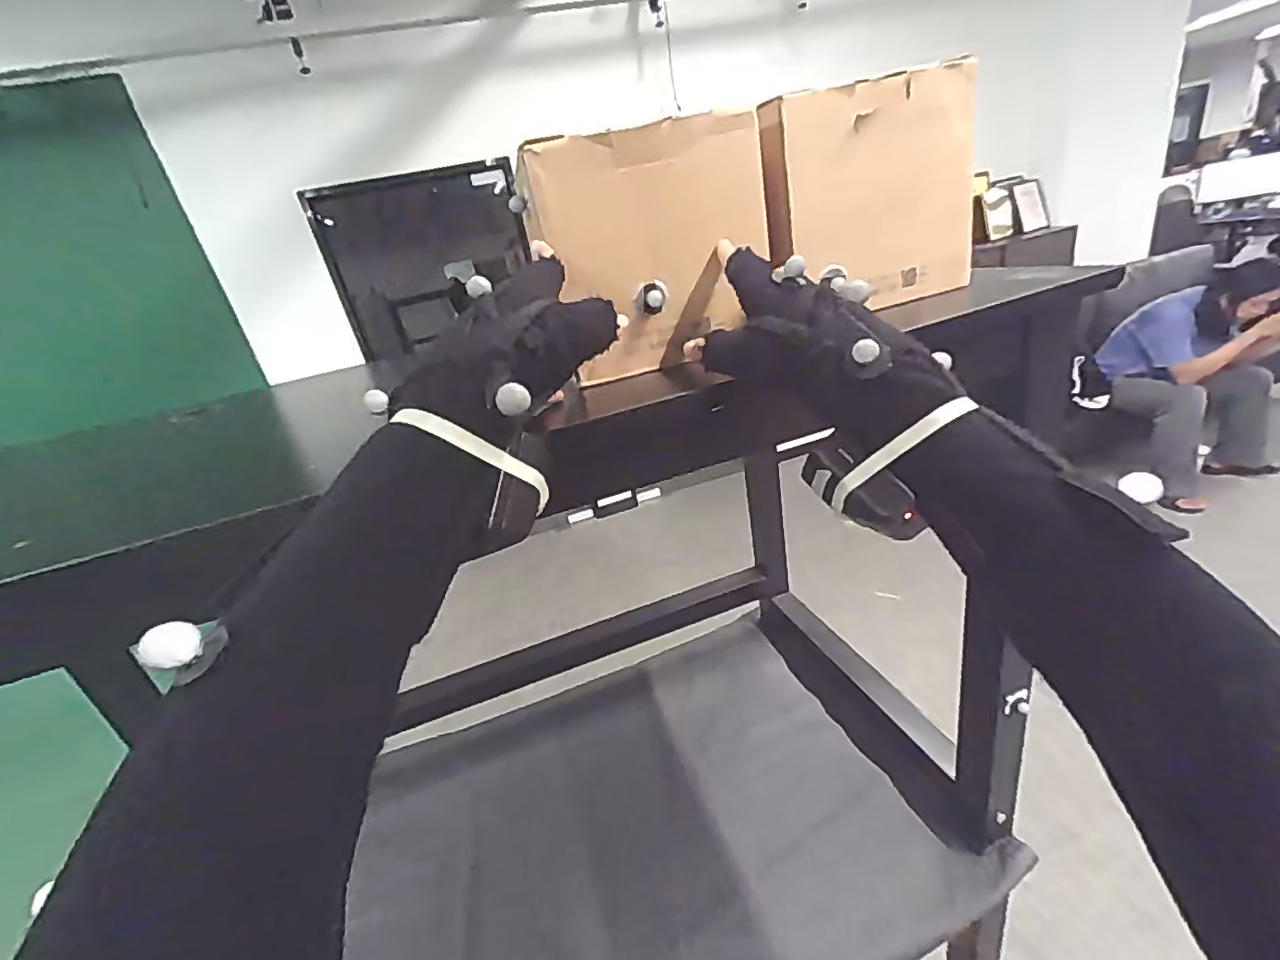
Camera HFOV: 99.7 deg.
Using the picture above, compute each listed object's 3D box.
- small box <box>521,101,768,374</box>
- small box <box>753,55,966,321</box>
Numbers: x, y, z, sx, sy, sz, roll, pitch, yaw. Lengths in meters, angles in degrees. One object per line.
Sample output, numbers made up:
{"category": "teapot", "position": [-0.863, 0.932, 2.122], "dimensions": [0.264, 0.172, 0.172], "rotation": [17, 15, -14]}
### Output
{"category": "small box", "position": [-0.003, -0.198, 0.473], "dimensions": [0.168, 0.176, 0.179], "rotation": [-15, 23, -8]}
{"category": "small box", "position": [0.169, -0.251, 0.504], "dimensions": [0.168, 0.176, 0.179], "rotation": [-16, 22, -9]}
